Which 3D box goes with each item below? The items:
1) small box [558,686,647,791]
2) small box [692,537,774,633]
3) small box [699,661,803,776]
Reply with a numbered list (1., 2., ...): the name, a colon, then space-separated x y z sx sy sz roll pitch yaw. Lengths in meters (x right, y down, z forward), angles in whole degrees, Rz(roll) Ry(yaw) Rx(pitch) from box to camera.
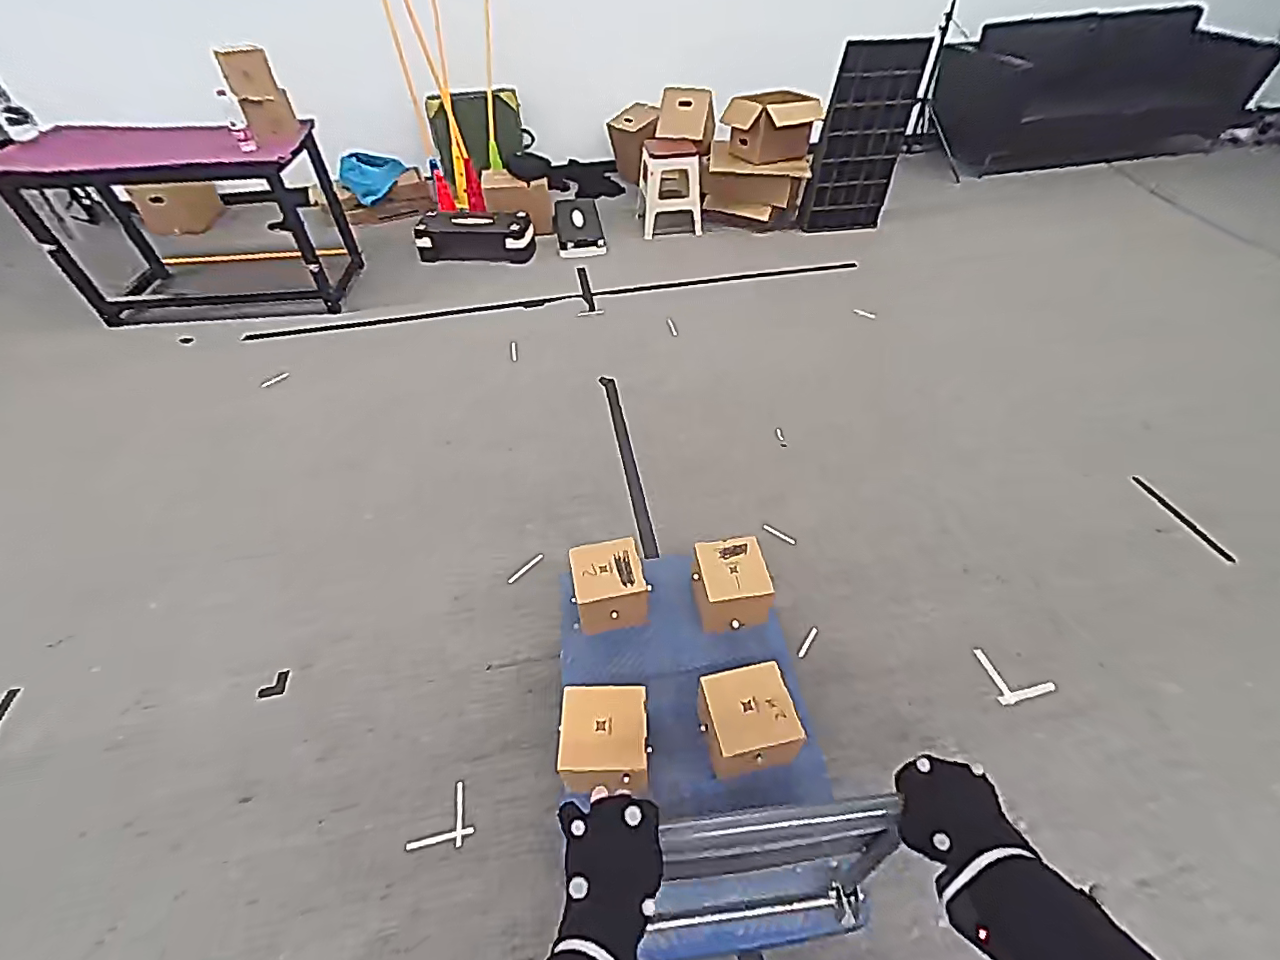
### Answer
1. small box: -0.073 0.559 1.165 0.179 0.176 0.168 0 46 -1
2. small box: 0.234 0.276 1.420 0.168 0.176 0.179 -7 48 -5
3. small box: 0.231 0.527 1.186 0.179 0.176 0.168 -10 48 -7
